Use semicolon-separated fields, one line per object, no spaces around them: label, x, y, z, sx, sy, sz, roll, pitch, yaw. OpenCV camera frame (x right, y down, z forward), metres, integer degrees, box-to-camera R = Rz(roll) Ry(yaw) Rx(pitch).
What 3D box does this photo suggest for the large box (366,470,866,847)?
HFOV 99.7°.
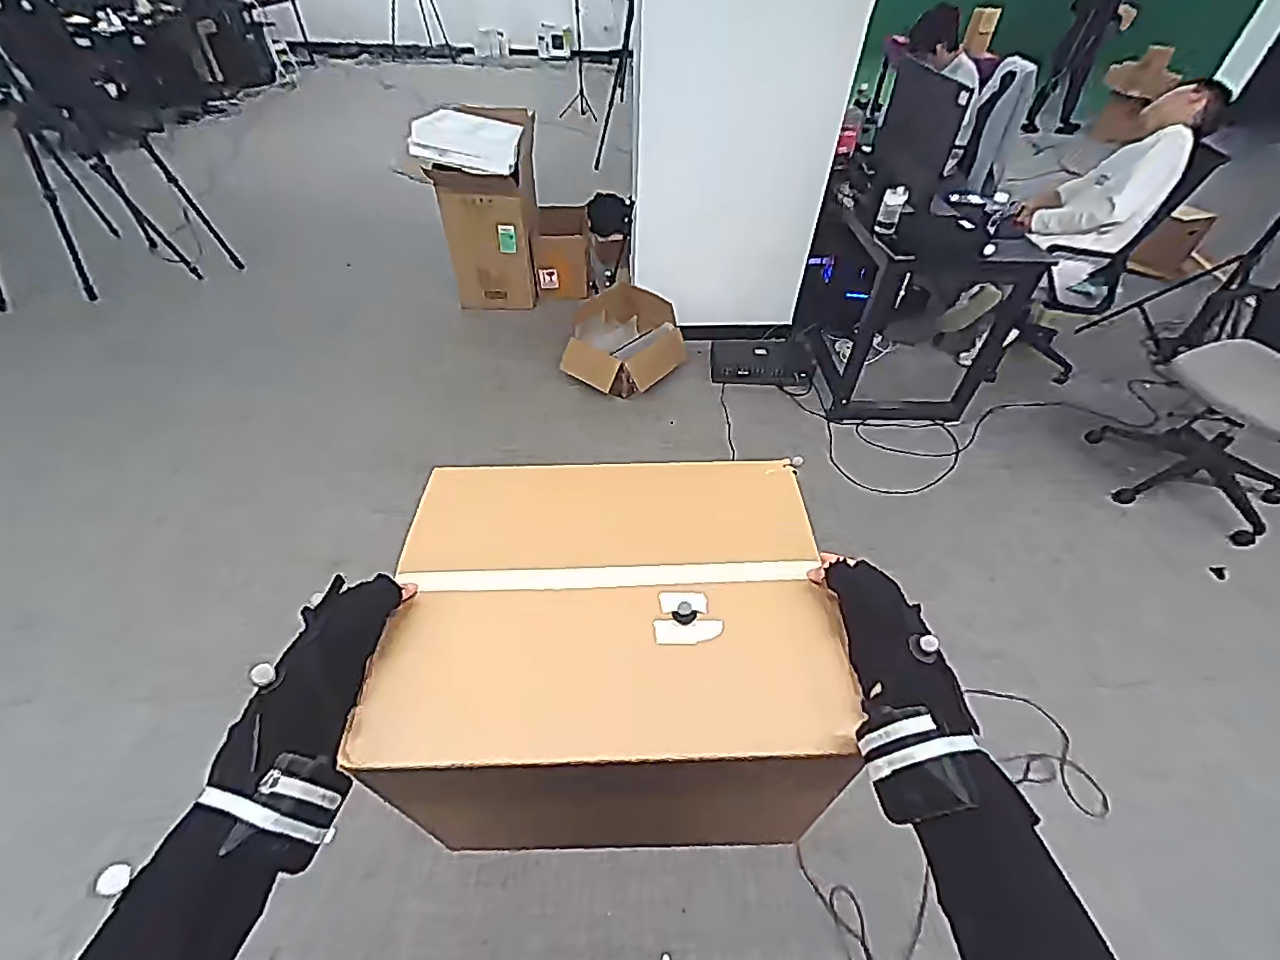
large box;-0.022;0.206;0.631;0.408;0.320;0.320;-1;46;0
